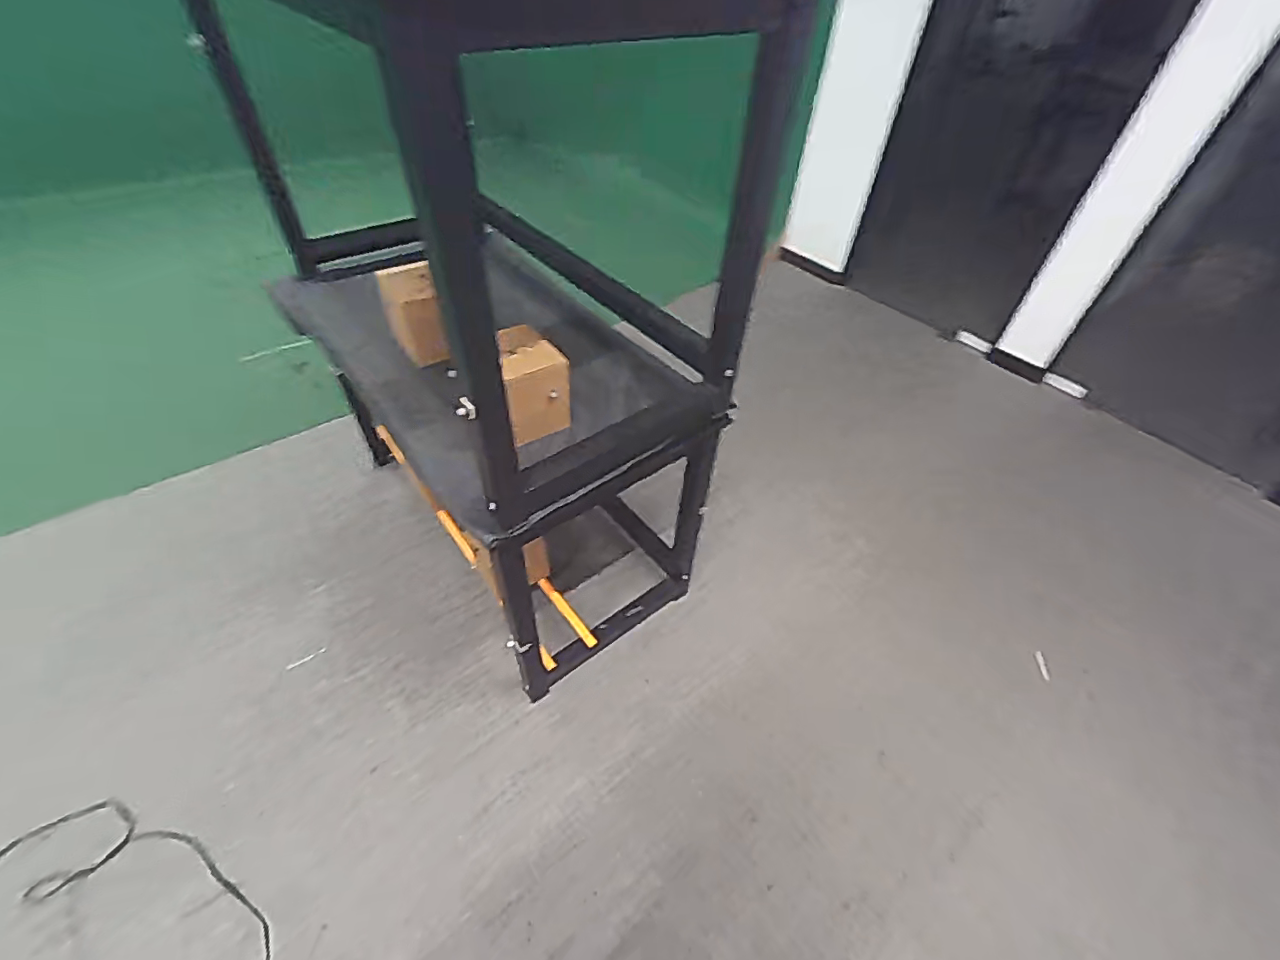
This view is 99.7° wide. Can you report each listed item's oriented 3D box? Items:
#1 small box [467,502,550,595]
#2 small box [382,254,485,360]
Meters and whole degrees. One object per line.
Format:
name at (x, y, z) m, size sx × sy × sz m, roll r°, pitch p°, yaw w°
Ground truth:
small box at (-0.379, 0.203, 1.578) m, size 0.179 × 0.176 × 0.168 m, roll -26°, pitch 53°, yaw -25°
small box at (-0.490, -0.415, 1.298) m, size 0.168 × 0.176 × 0.179 m, roll -26°, pitch 53°, yaw -25°
